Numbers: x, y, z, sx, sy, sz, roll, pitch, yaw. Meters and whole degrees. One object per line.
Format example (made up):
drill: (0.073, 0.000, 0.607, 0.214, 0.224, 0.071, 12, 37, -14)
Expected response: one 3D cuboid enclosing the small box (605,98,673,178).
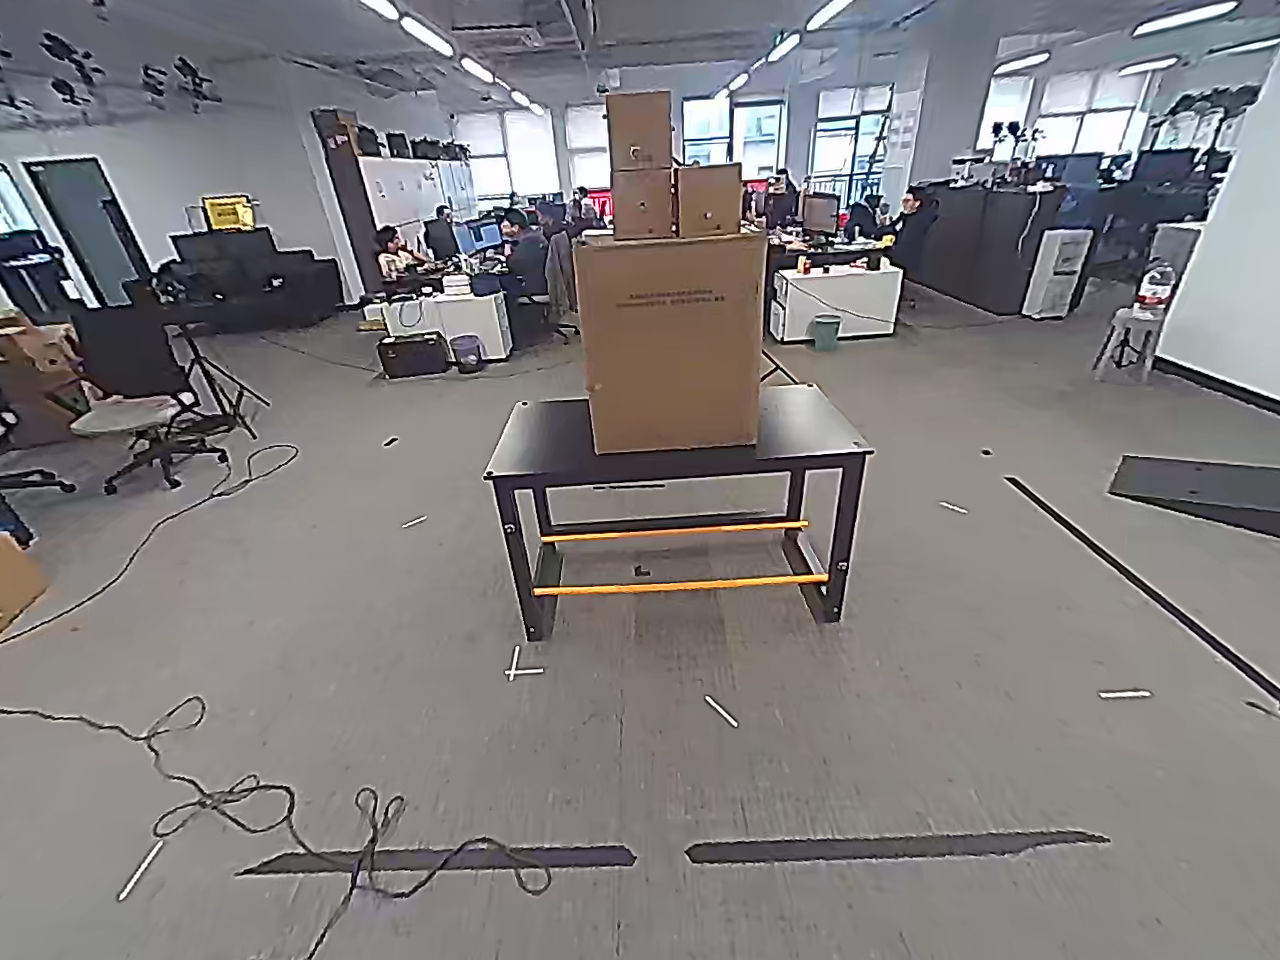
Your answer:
small box: (-0.001, -0.908, 1.444, 0.168, 0.176, 0.179, -4, 32, 1)
